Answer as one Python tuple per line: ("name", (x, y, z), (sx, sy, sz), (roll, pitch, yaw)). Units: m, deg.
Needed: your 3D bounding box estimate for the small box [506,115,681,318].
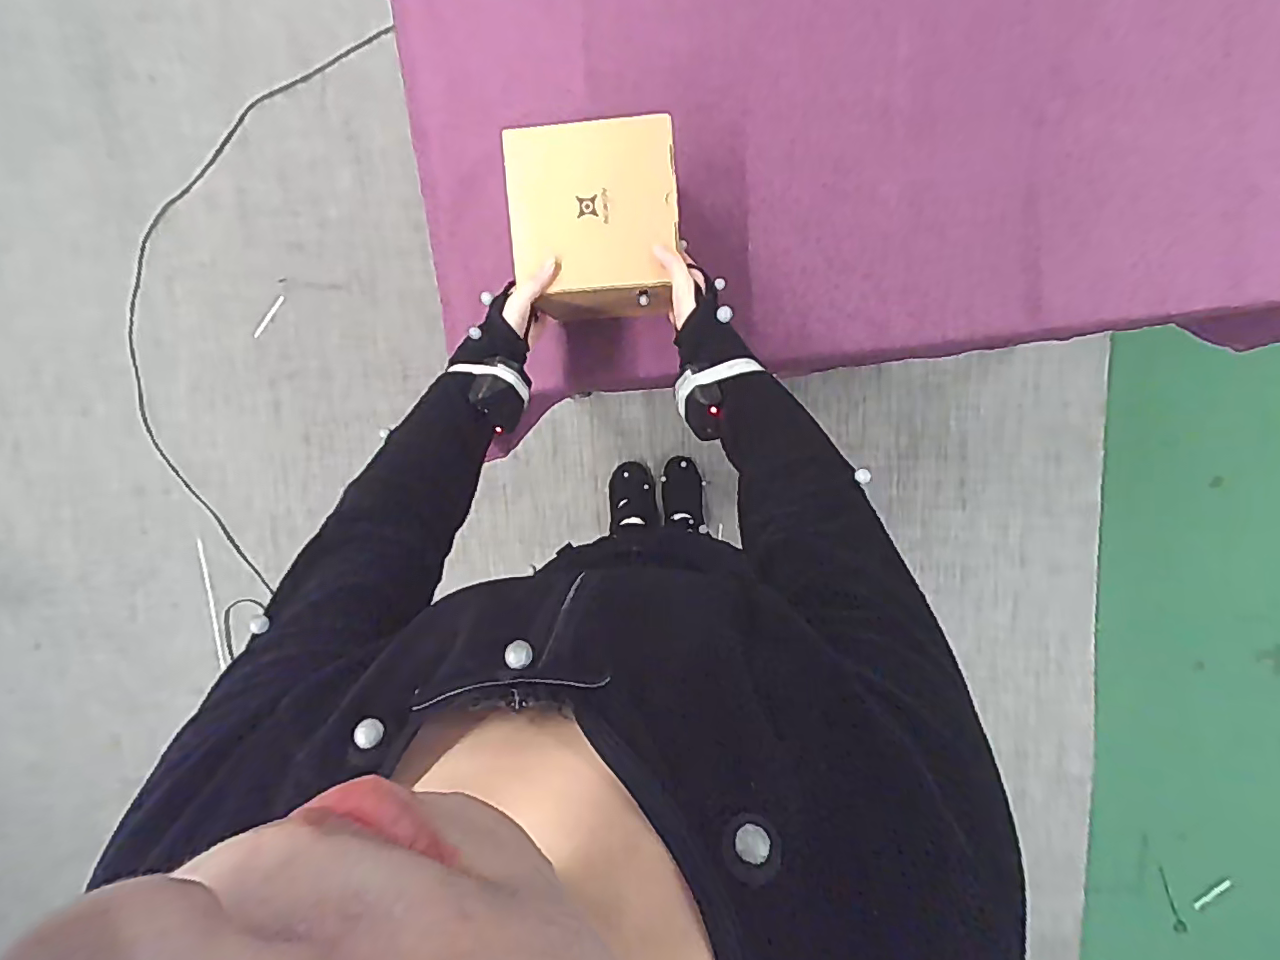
("small box", (-0.043, -0.293, 0.640), (0.179, 0.176, 0.168), (-3, 96, 4))
